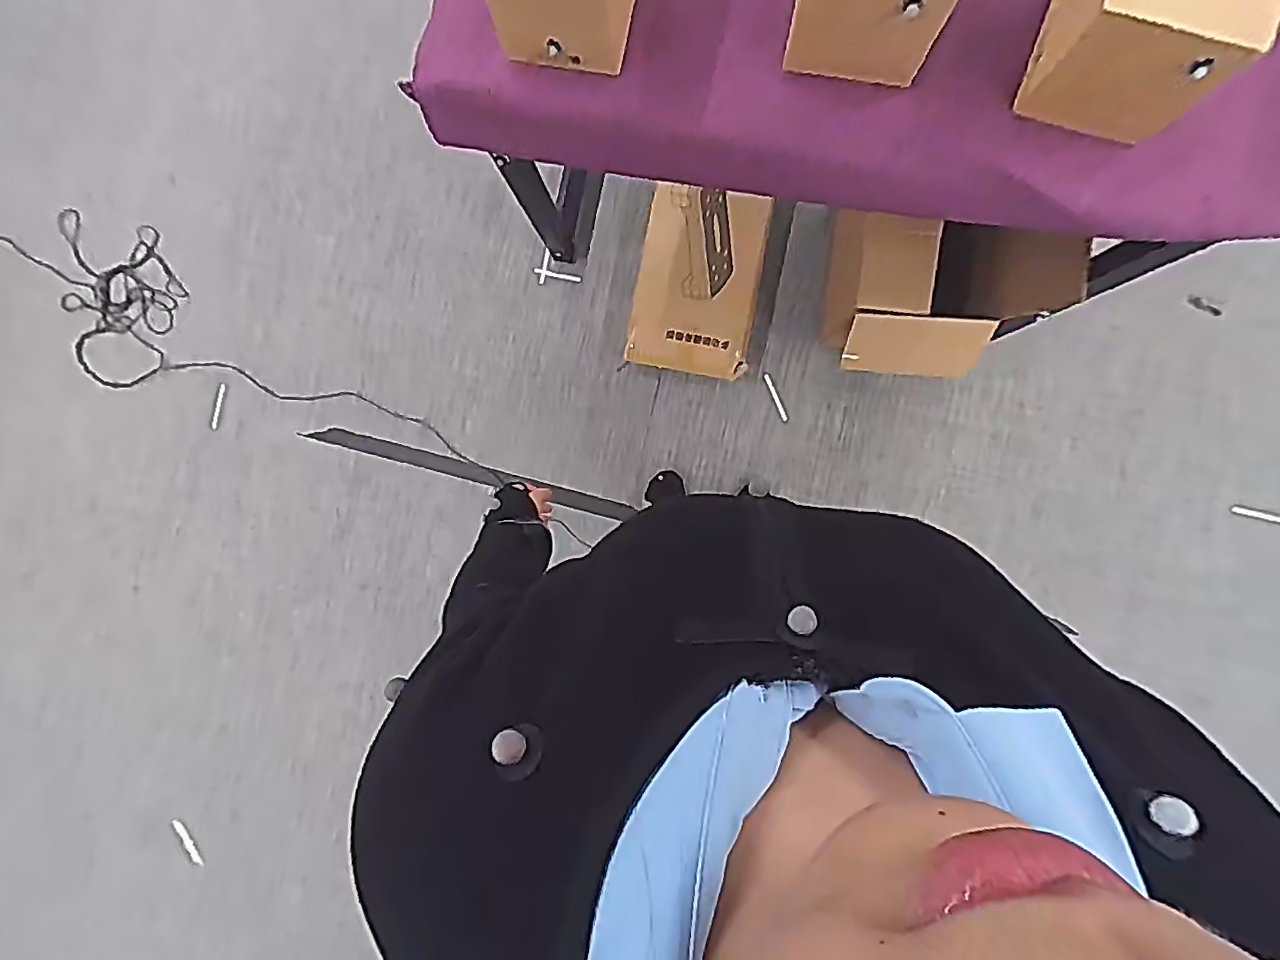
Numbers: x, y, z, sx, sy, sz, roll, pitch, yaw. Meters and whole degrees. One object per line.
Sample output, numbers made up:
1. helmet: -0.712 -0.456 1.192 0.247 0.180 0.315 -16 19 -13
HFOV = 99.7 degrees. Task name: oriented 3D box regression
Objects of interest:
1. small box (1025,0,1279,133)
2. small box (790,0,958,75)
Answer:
1. small box: 0.604 -0.549 0.632 0.179 0.176 0.168 19 93 4
2. small box: 0.298 -0.637 0.654 0.179 0.176 0.168 11 90 4
